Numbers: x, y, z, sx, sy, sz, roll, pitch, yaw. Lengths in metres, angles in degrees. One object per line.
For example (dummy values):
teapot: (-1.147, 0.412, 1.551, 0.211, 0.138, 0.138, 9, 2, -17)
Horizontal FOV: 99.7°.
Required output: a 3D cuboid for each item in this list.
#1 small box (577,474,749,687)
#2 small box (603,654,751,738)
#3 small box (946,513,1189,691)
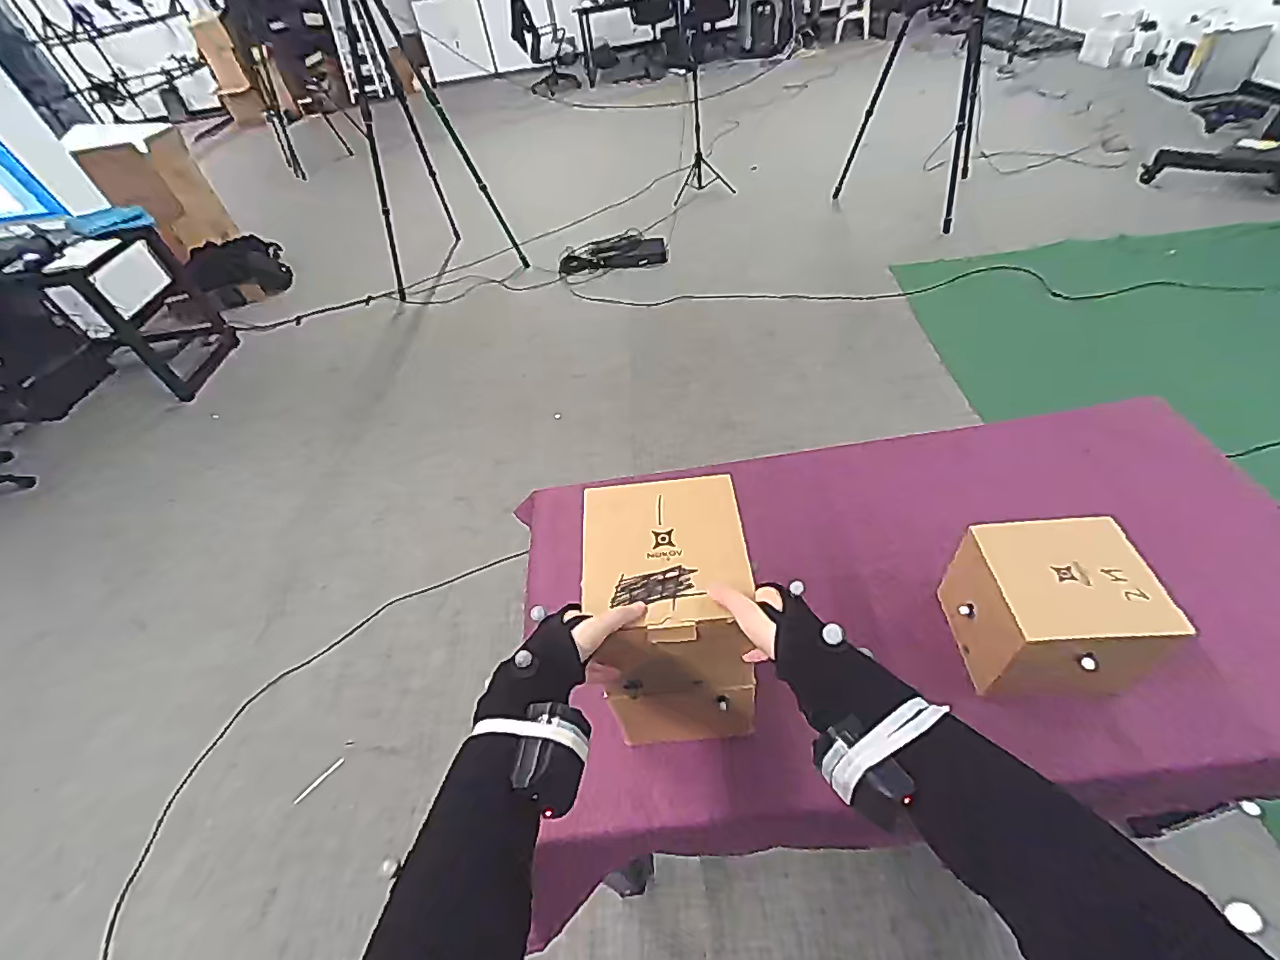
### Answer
small box: (0.028, 0.120, 0.610, 0.168, 0.176, 0.179, -7, 48, 3)
small box: (0.051, 0.235, 0.733, 0.179, 0.176, 0.168, -7, 47, 4)
small box: (0.522, 0.163, 0.702, 0.179, 0.176, 0.168, -4, 48, 7)
